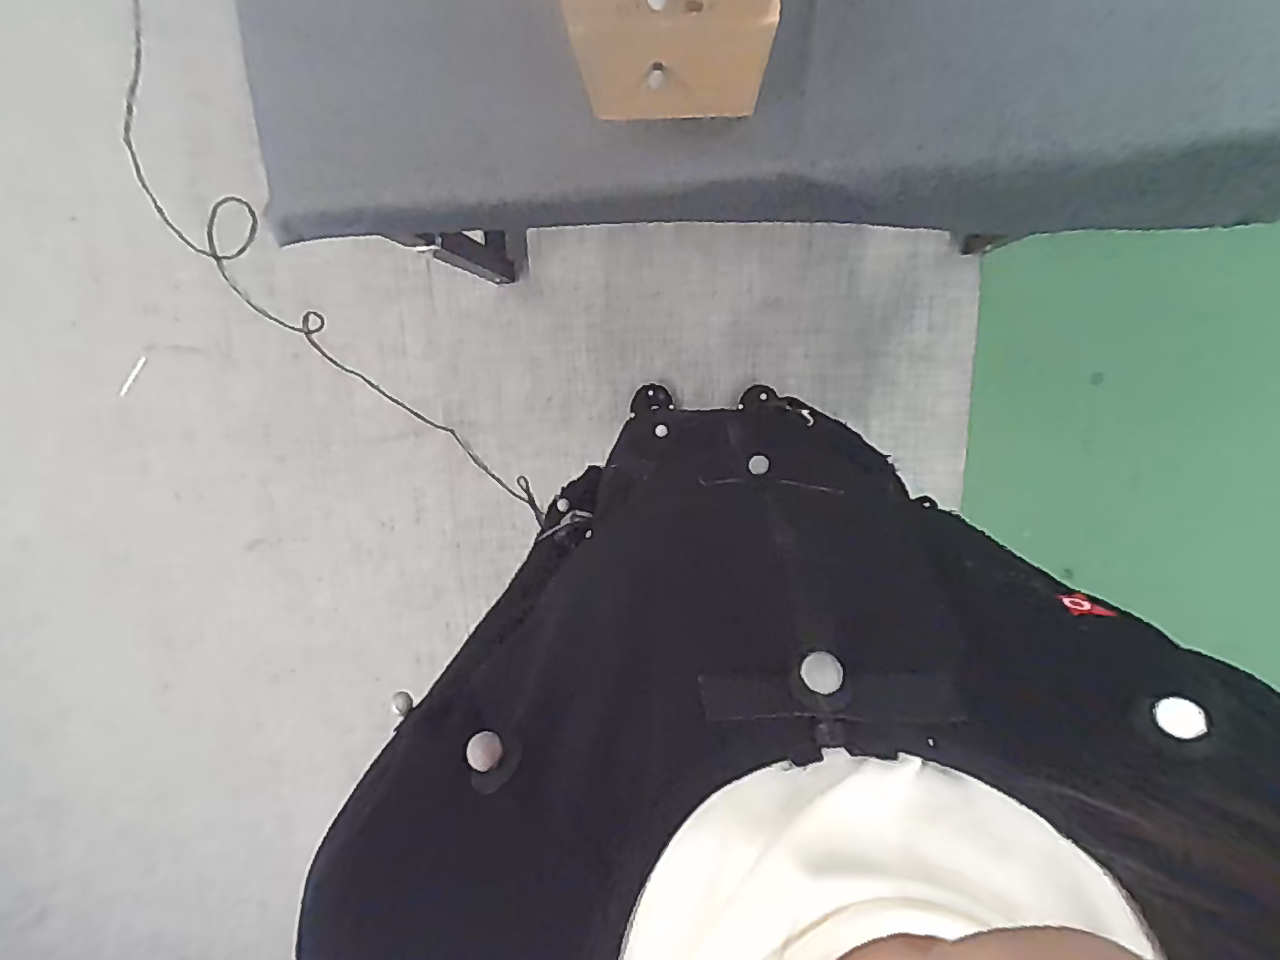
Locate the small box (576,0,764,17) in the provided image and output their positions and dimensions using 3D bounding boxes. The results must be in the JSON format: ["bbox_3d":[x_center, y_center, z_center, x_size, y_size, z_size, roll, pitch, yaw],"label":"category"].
[{"bbox_3d":[0.018,-0.450,0.346,0.168,0.176,0.179,2,102,4],"label":"small box"}]

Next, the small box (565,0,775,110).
[{"bbox_3d":[0.033,-0.476,0.508,0.179,0.176,0.168,2,102,4],"label":"small box"}]
